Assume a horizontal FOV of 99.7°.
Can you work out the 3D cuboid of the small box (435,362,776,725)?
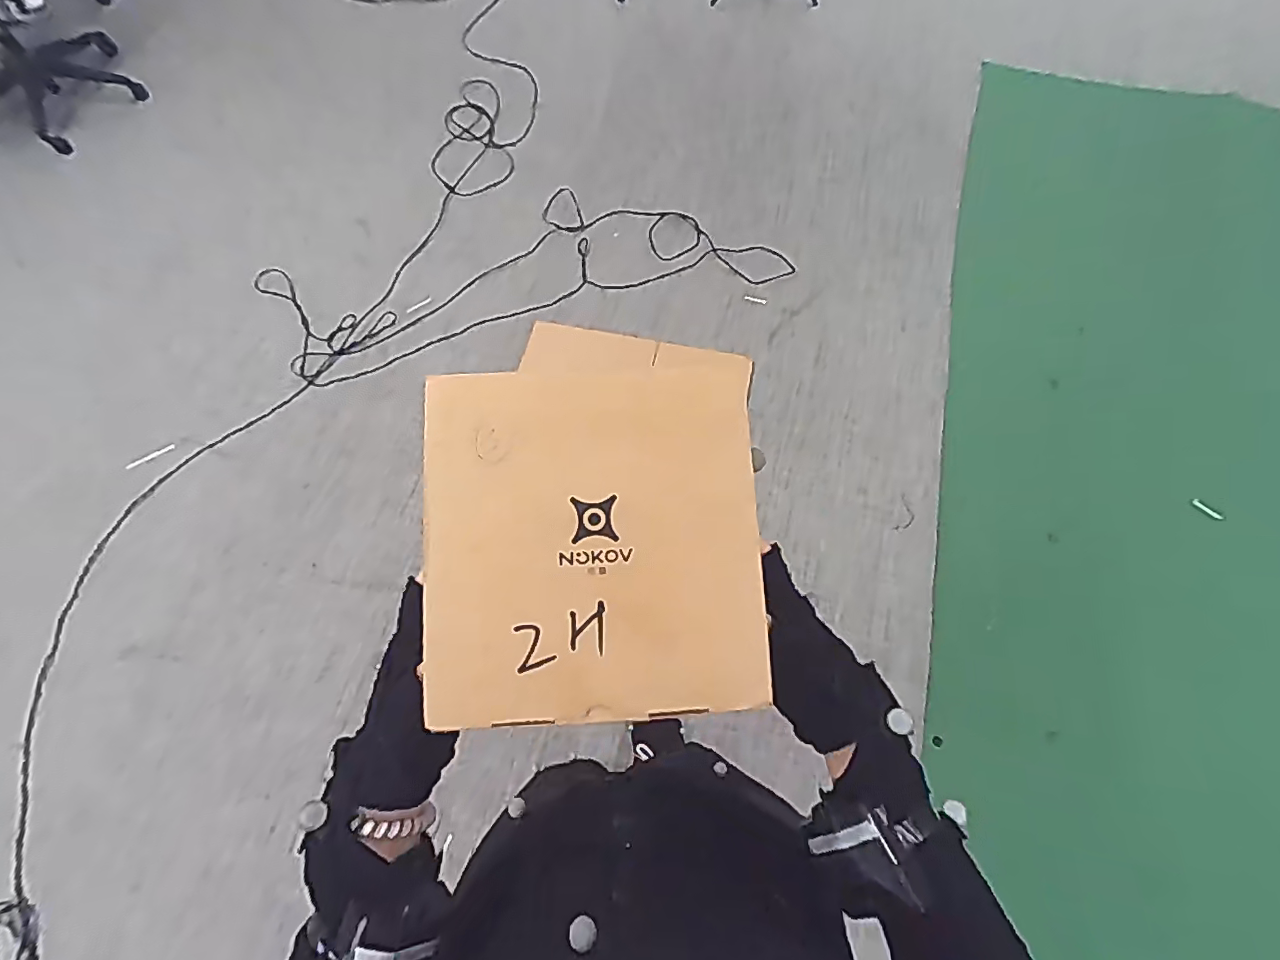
[{"bbox_3d":[-0.022,0.038,0.349,0.168,0.176,0.179,-3,82,-2],"label":"small box"}]
